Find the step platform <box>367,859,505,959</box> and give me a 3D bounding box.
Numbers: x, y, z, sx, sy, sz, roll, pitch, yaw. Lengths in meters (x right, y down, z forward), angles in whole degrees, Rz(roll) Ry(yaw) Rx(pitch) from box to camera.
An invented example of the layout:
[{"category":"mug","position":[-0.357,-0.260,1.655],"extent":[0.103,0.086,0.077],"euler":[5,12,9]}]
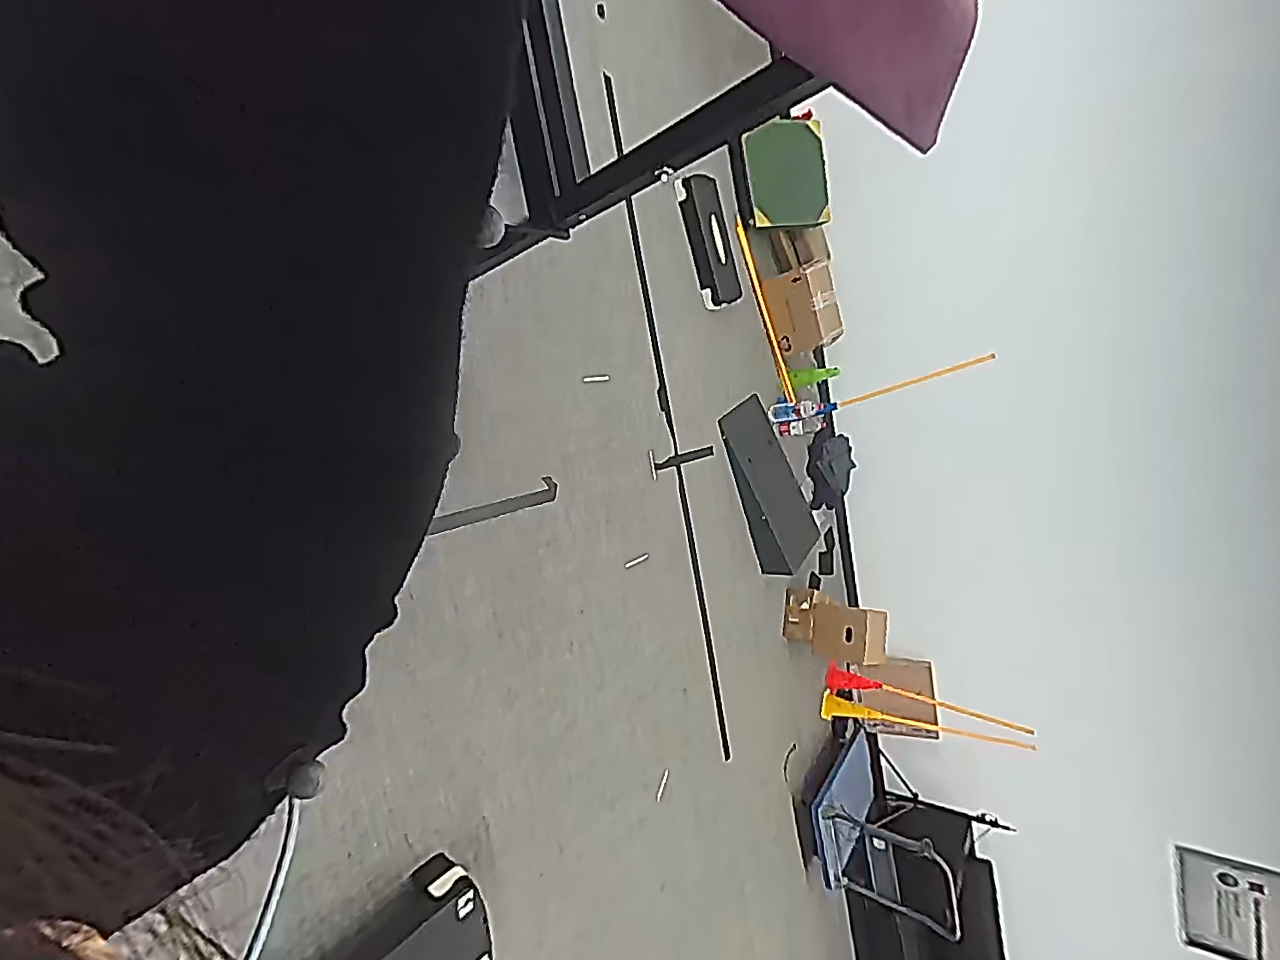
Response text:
[{"category":"step platform","position":[-0.661,1.285,1.327],"extent":[0.684,0.204,0.286],"euler":[-8,92,-50]}]
